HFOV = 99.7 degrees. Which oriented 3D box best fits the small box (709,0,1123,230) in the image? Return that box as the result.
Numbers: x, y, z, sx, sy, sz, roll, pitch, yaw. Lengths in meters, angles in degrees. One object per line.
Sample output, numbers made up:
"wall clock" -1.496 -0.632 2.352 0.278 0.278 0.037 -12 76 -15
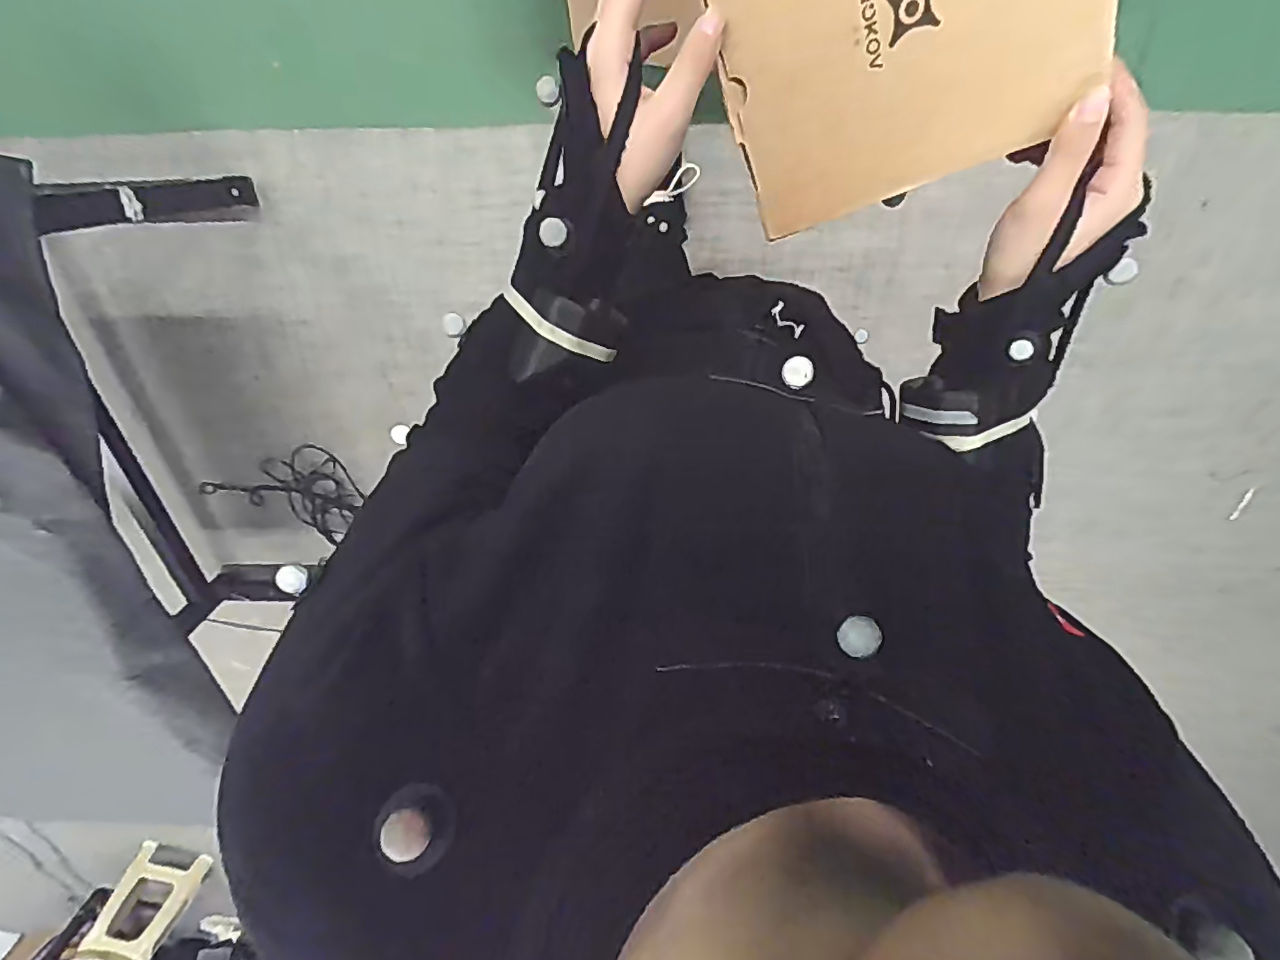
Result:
"small box" 0.140 -0.283 0.314 0.179 0.176 0.168 -12 129 23
